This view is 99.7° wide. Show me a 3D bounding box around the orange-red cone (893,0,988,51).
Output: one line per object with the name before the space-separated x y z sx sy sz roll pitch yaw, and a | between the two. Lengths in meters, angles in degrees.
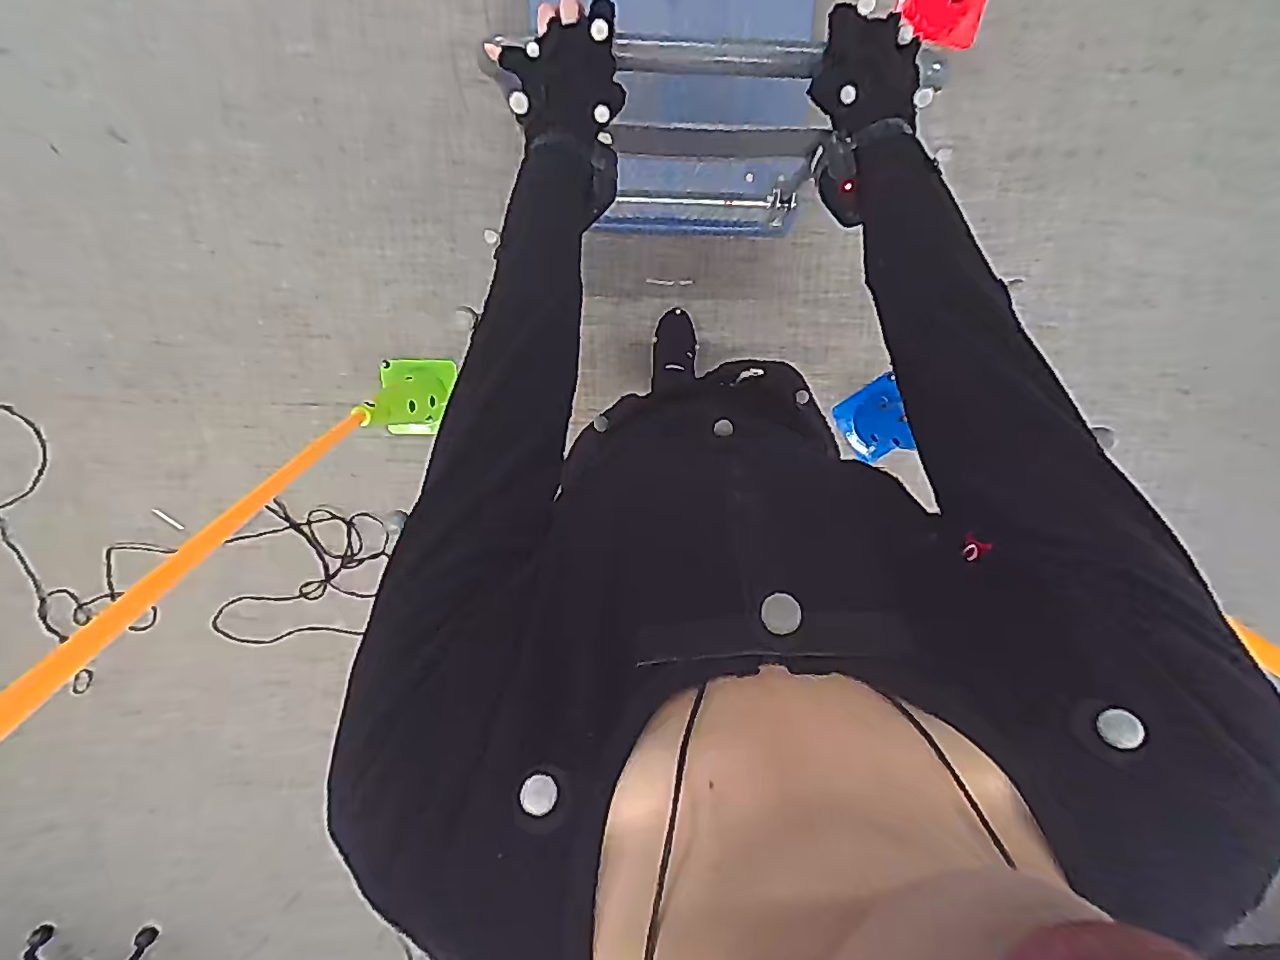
orange-red cone | 0.696 -1.064 1.067 0.198 0.360 0.199 12 105 -3
